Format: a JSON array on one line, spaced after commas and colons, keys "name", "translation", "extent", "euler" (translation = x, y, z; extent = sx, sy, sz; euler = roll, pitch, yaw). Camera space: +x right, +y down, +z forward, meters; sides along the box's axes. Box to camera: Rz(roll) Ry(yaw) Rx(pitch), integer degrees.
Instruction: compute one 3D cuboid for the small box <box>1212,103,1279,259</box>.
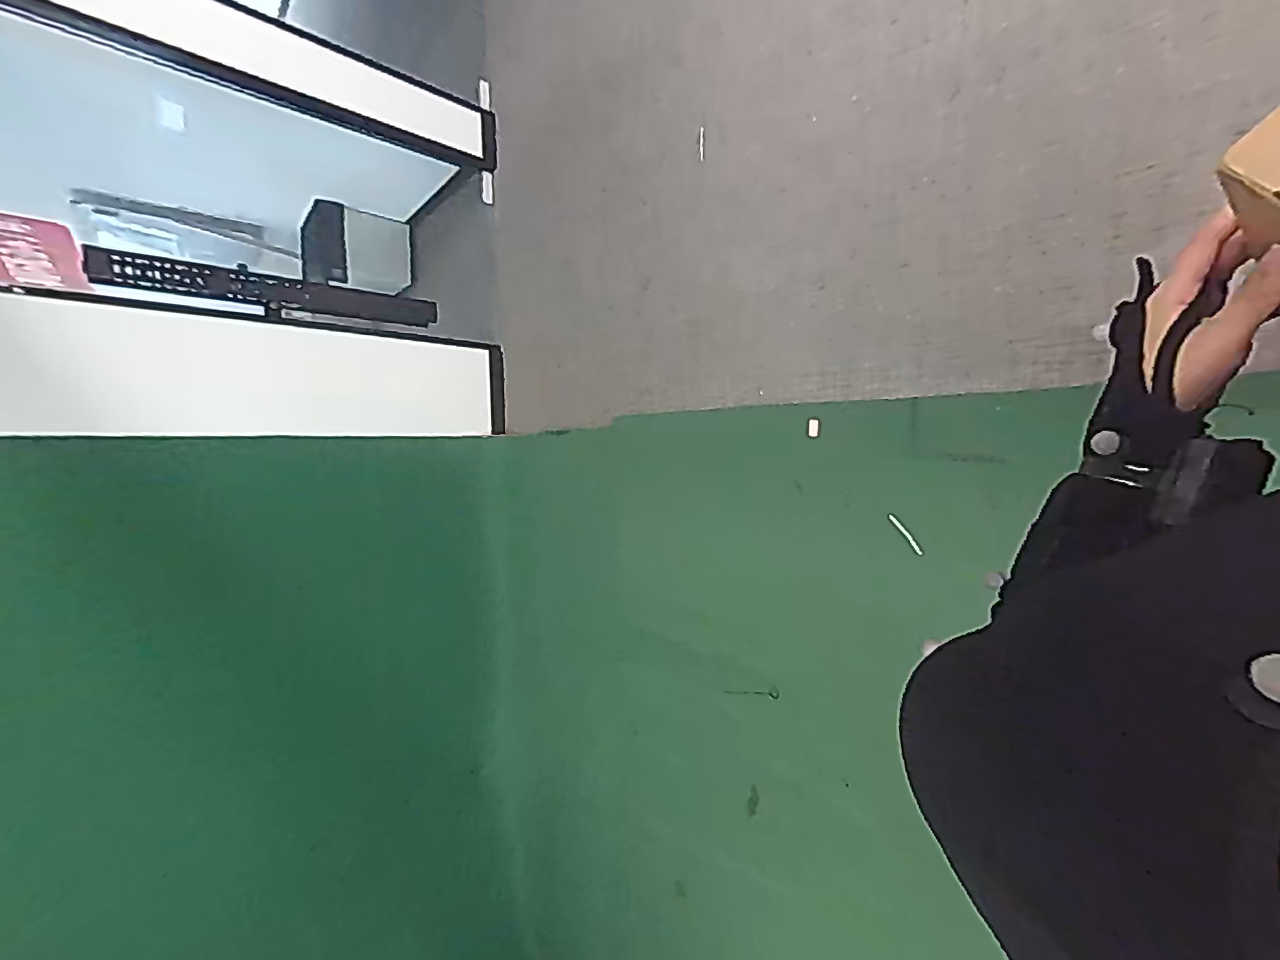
[{"name": "small box", "translation": [0.415, -0.137, 0.217], "extent": [0.179, 0.176, 0.168], "euler": [-50, 46, 39]}]
